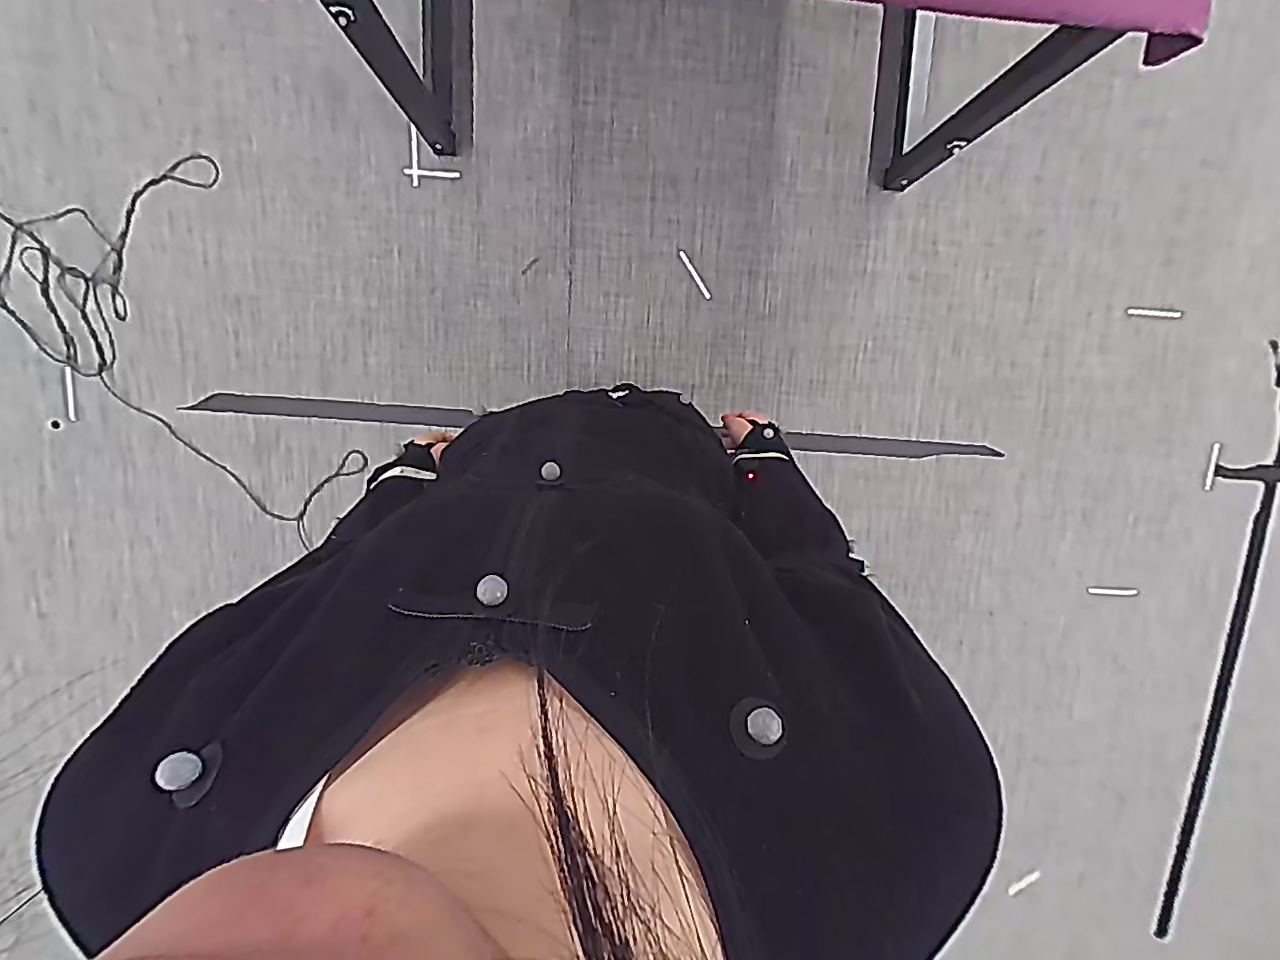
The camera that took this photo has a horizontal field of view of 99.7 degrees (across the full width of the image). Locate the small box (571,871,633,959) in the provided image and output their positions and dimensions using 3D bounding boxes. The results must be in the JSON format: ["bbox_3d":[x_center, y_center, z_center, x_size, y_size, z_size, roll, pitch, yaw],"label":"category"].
[{"bbox_3d":[-0.113,1.309,1.612,0.168,0.176,0.179,5,100,-2],"label":"small box"}]
